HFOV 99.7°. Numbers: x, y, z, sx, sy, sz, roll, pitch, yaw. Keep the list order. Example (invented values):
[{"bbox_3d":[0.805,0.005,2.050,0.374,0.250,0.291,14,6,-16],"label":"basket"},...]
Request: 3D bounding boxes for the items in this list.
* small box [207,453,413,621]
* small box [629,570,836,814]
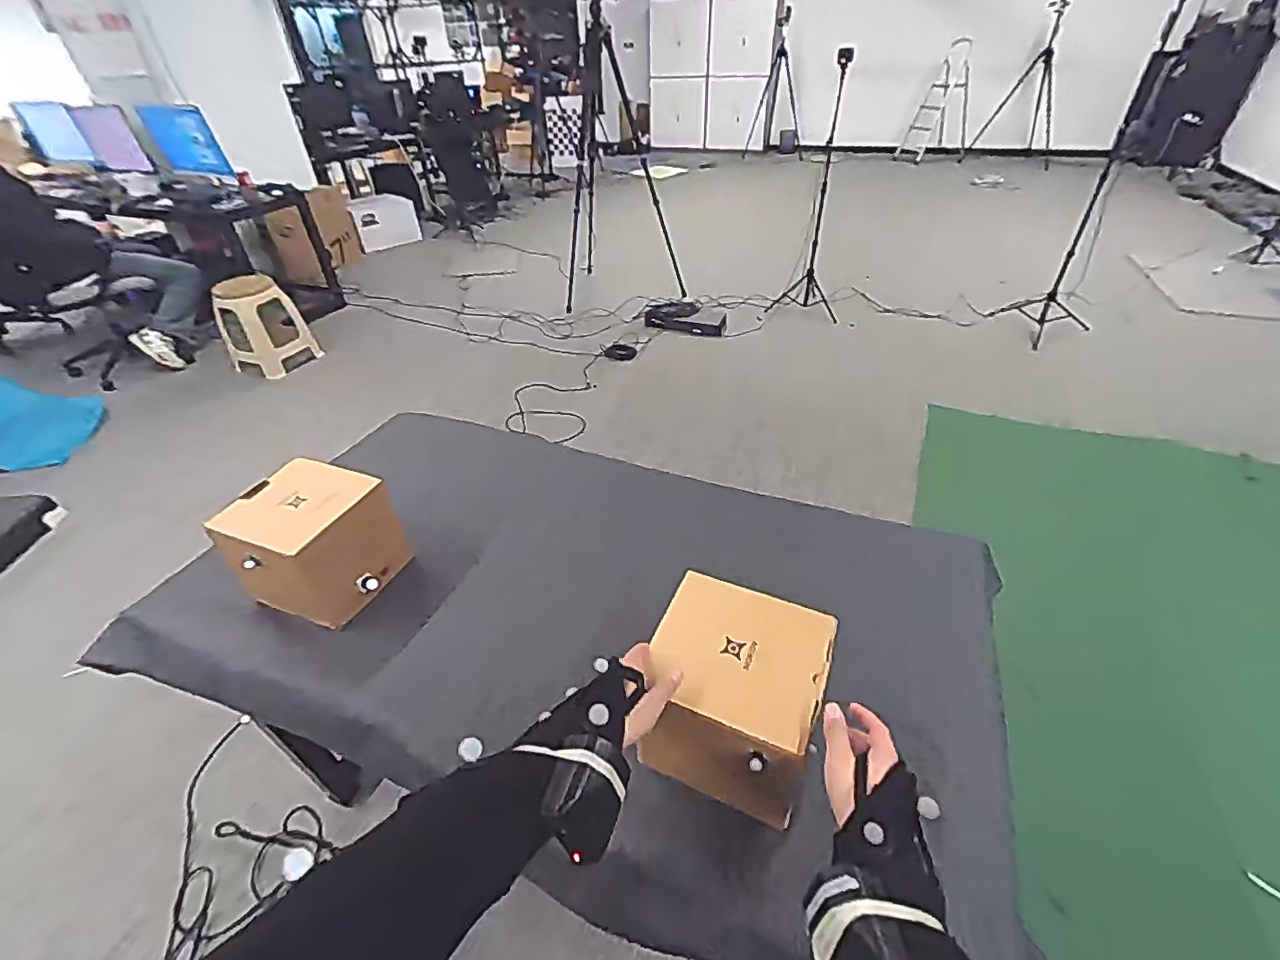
[{"bbox_3d":[-0.485,0.086,0.821,0.179,0.176,0.168,14,43,17],"label":"small box"},{"bbox_3d":[0.103,0.236,0.608,0.179,0.176,0.168,15,42,20],"label":"small box"}]
